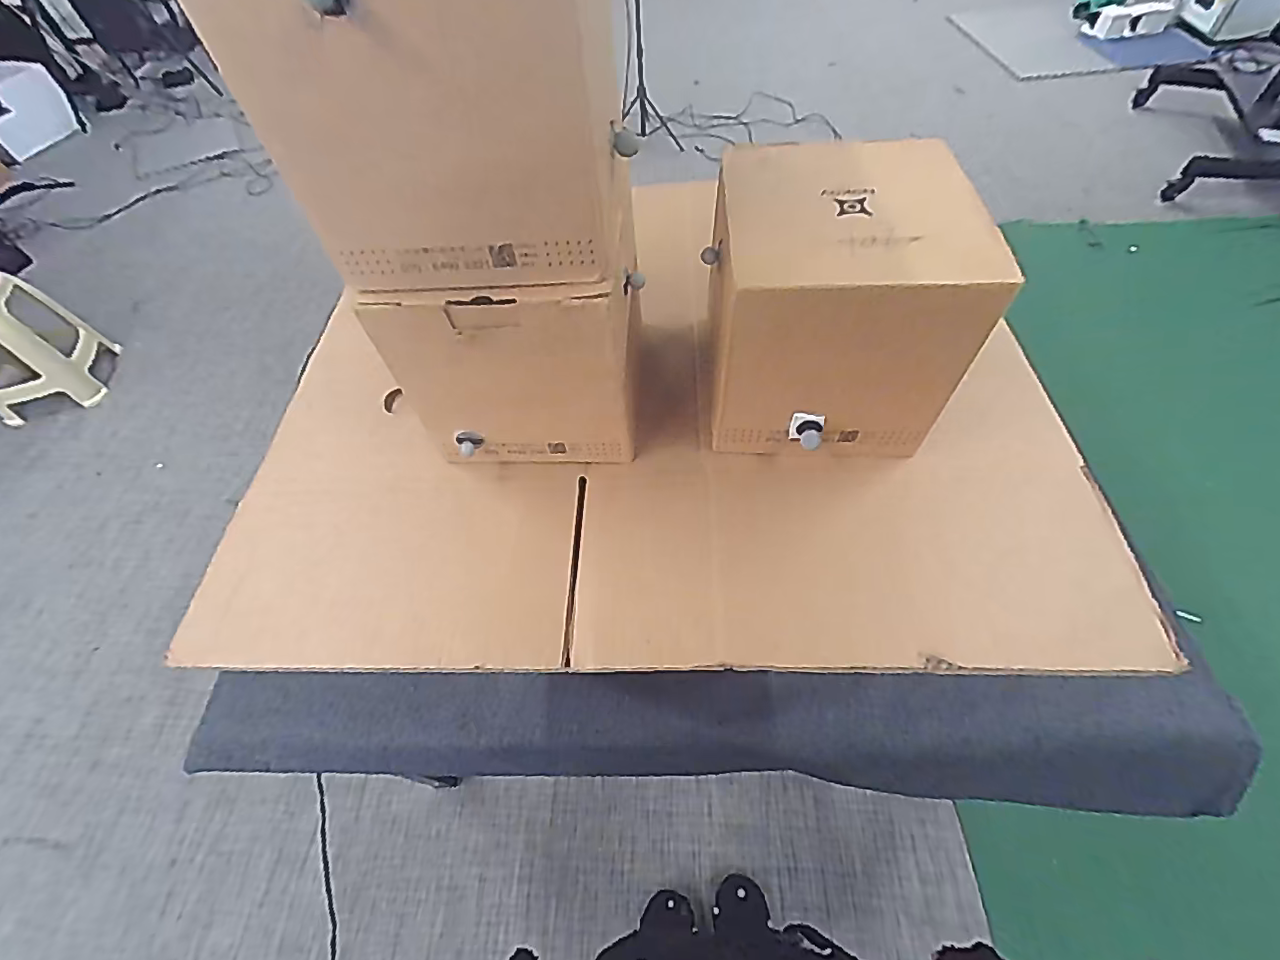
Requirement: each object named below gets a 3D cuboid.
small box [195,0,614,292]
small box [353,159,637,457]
[{"bbox_3d":[-0.107,-0.234,0.318,0.168,0.176,0.179,-1,56,4],"label":"small box"},{"bbox_3d":[-0.092,-0.132,0.446,0.168,0.176,0.179,0,56,5],"label":"small box"}]
